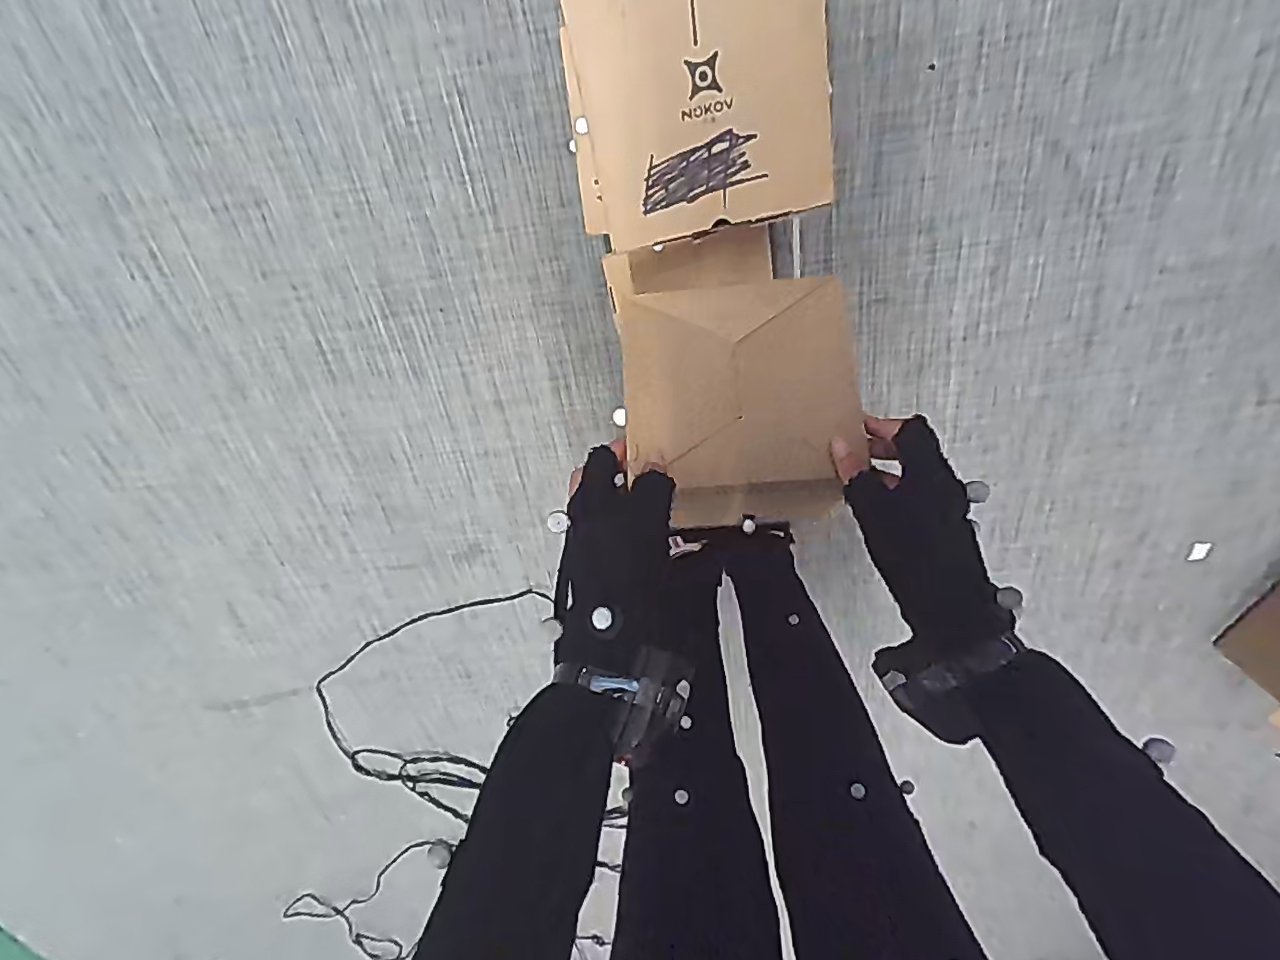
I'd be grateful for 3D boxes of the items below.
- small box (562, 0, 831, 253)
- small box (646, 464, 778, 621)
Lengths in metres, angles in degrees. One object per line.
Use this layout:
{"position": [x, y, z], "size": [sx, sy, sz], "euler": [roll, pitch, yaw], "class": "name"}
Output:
{"position": [0.047, -0.296, 0.434], "size": [0.168, 0.176, 0.179], "euler": [-9, 115, 7], "class": "small box"}
{"position": [0.103, 0.094, 0.857], "size": [0.168, 0.176, 0.179], "euler": [-6, 121, -7], "class": "small box"}
